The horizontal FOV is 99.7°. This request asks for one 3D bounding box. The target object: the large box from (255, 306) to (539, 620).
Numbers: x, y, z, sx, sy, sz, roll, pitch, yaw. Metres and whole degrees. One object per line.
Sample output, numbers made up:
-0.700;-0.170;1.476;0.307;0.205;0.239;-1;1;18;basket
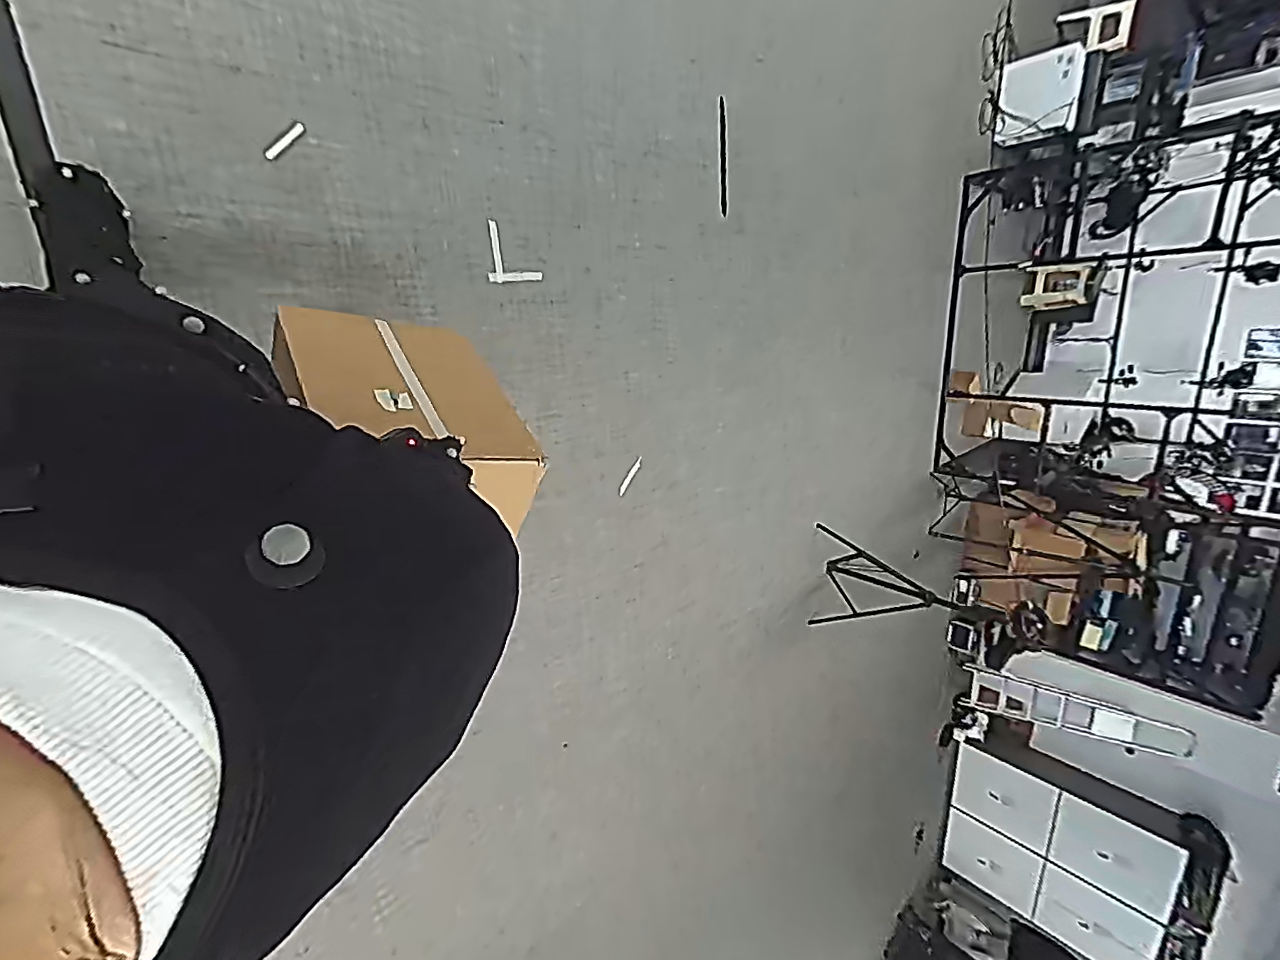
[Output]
-0.435;-0.036;0.921;0.320;0.408;0.320;-3;133;-41;large box
